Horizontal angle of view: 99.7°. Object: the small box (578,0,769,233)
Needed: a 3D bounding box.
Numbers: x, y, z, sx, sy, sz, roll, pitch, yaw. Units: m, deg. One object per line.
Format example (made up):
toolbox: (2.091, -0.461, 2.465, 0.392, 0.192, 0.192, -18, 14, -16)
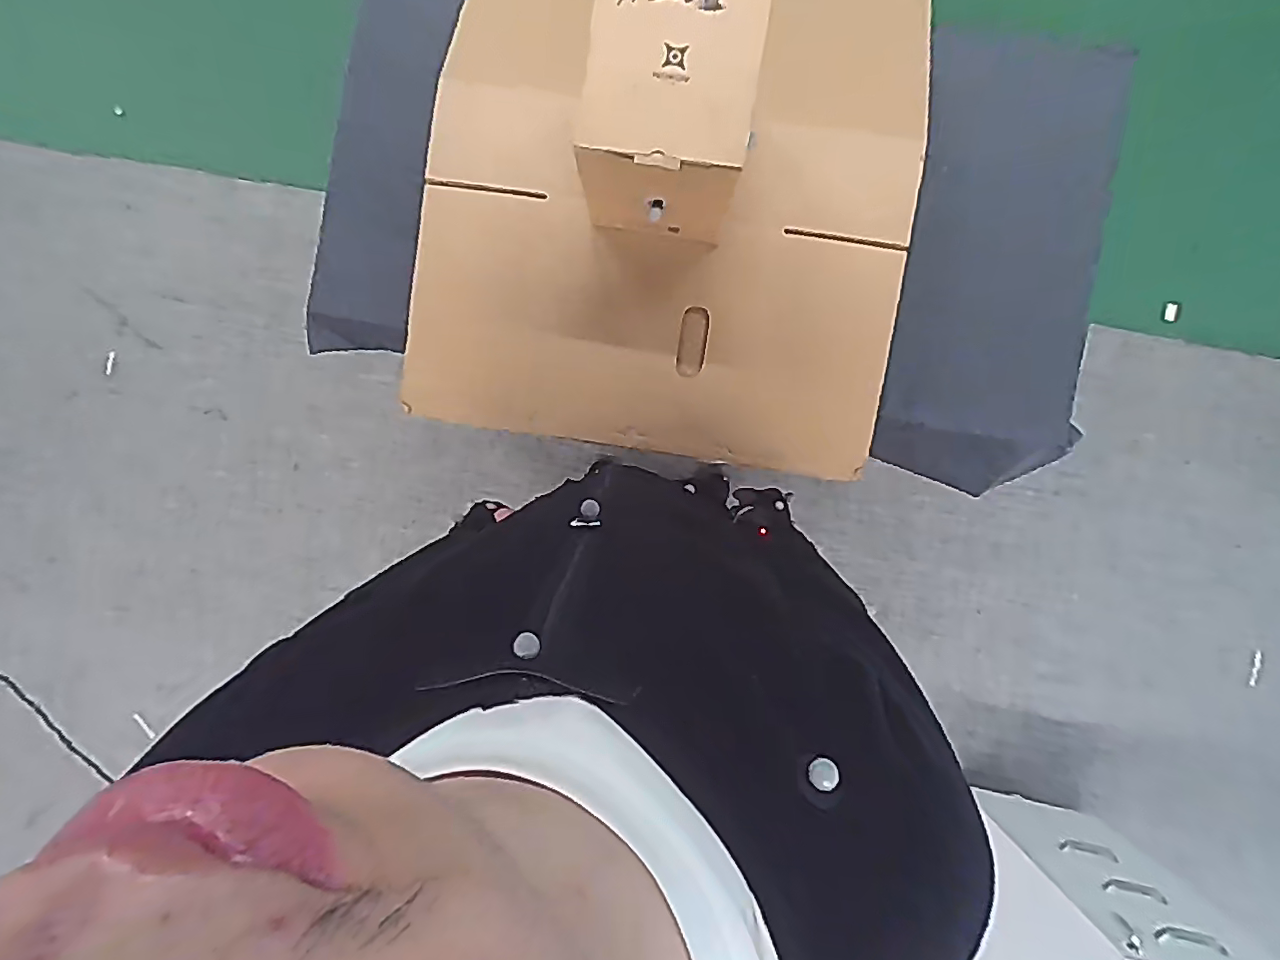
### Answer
small box: (0.035, -0.393, 0.589, 0.168, 0.176, 0.179, 7, 92, 2)
